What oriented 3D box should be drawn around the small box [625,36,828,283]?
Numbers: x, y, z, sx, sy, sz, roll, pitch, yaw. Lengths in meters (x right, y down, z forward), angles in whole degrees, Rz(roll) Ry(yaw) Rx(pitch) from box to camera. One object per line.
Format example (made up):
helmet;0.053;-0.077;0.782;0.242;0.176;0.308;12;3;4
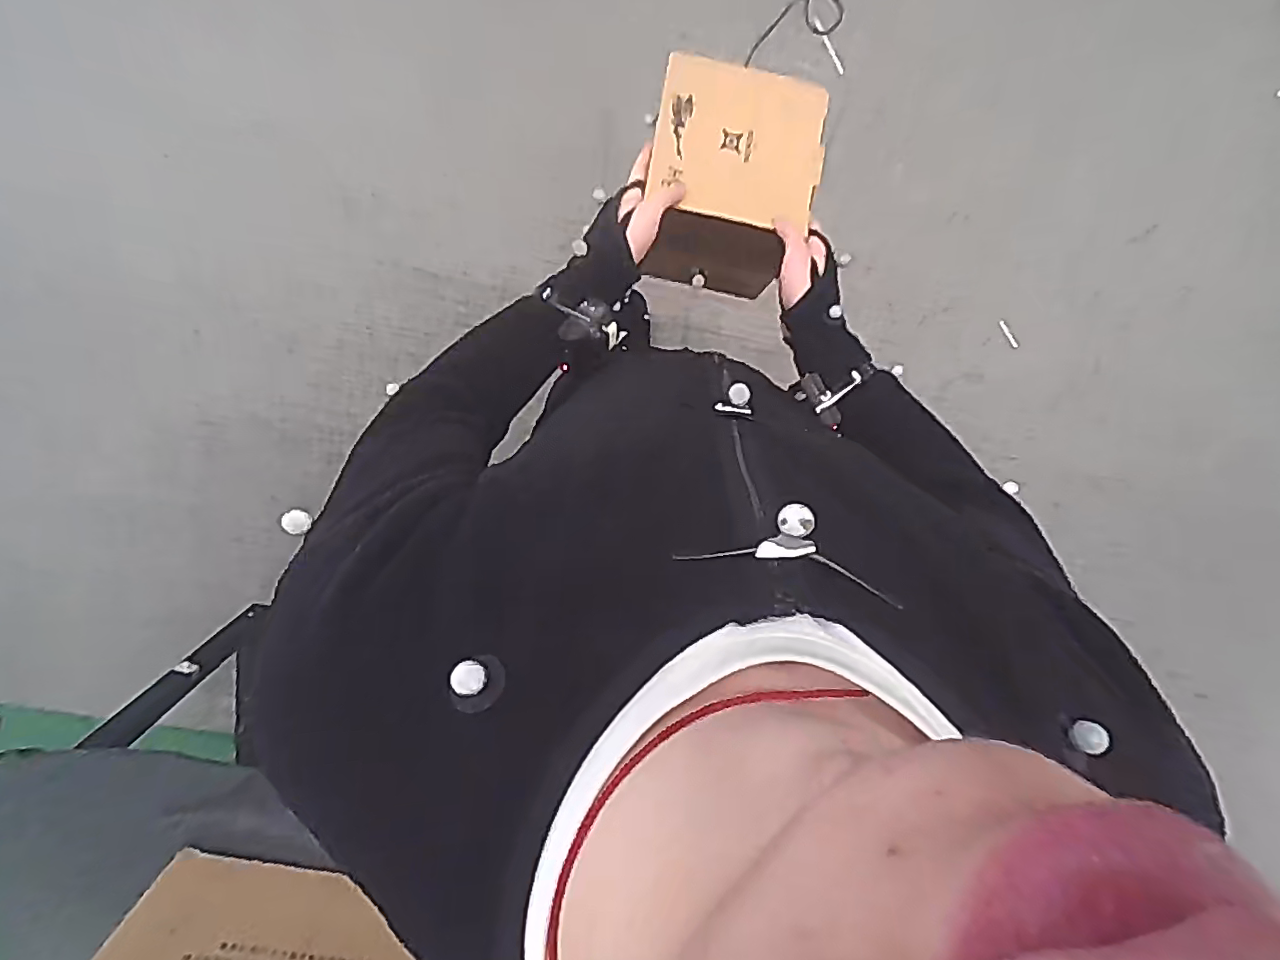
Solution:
small box;0.089;-0.351;0.631;0.179;0.176;0.168;11;86;-7
